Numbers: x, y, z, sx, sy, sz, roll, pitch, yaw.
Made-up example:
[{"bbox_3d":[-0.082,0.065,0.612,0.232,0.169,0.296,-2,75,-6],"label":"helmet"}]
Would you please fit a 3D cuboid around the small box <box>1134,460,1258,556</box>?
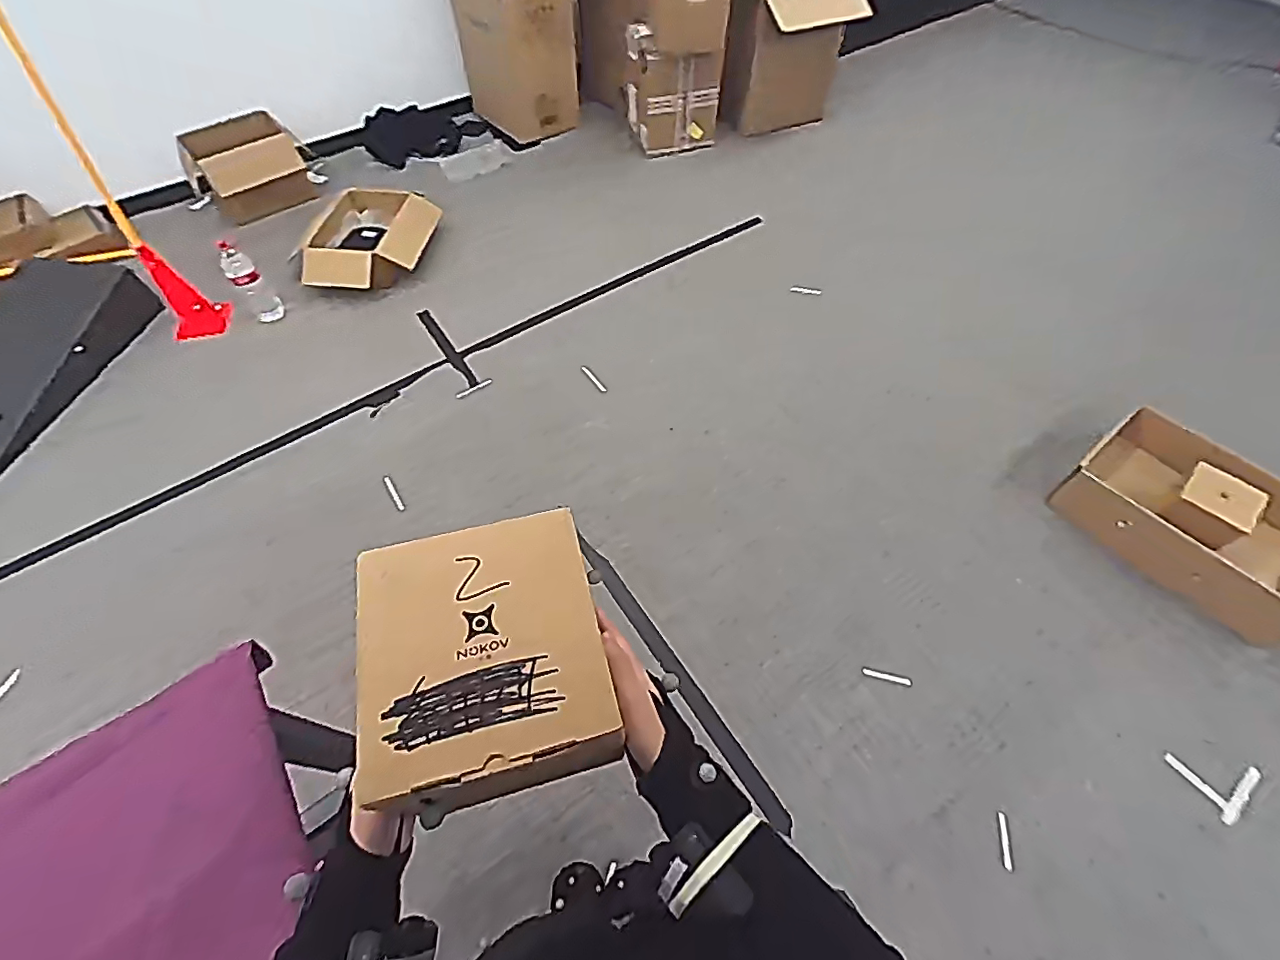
[{"bbox_3d":[1.576,0.083,1.543,0.179,0.176,0.168,-40,63,-22],"label":"small box"}]
